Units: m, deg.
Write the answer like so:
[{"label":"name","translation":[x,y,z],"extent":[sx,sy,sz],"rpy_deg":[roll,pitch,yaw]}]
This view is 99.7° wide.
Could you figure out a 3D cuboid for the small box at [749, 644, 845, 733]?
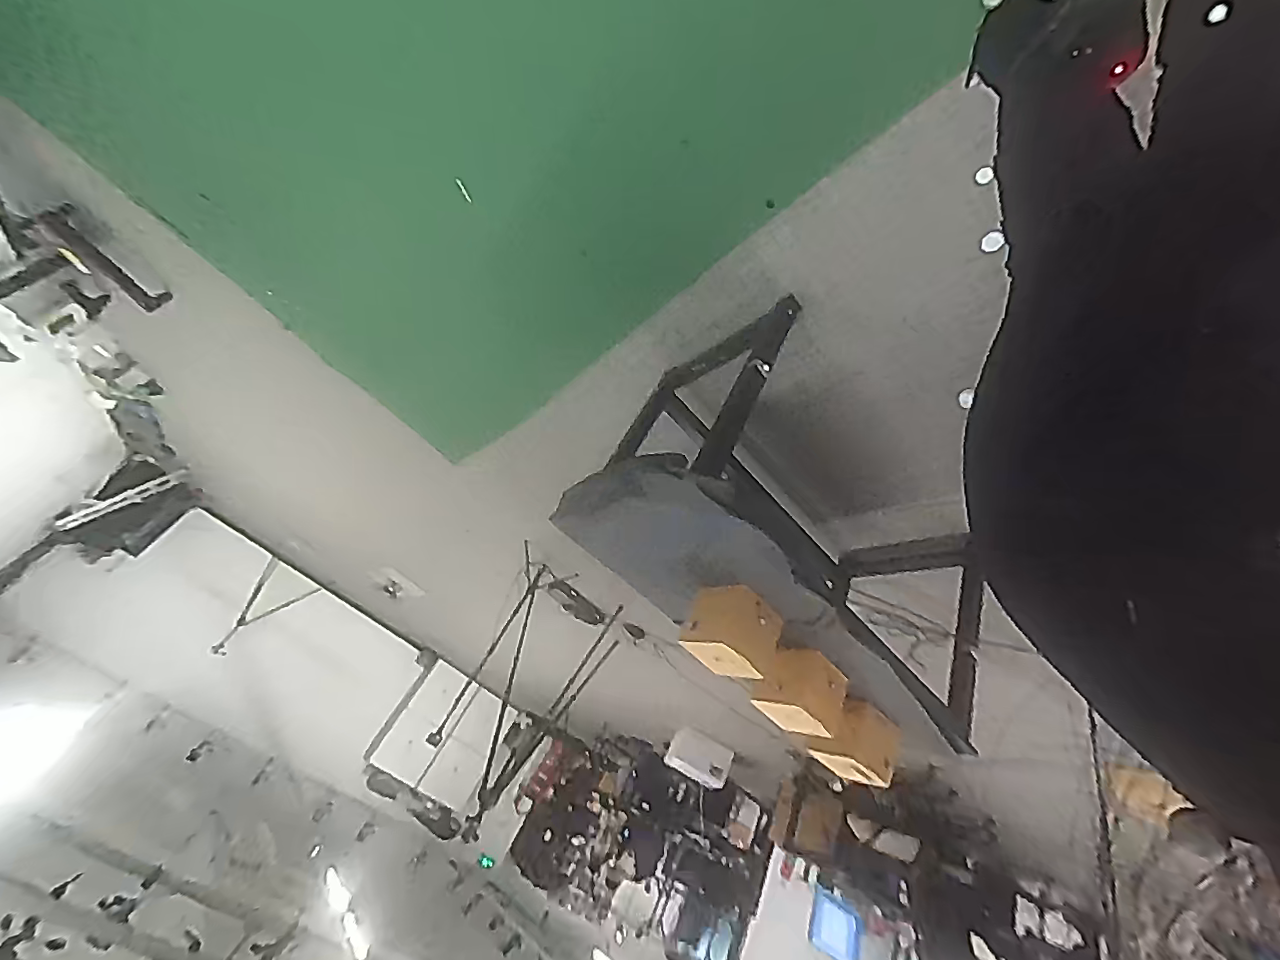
[{"label":"small box","translation":[0.441,0.570,1.501],"extent":[0.168,0.176,0.179],"rpy_deg":[44,144,-20]}]

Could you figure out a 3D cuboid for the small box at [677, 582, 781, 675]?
[{"label":"small box","translation":[0.234,0.381,1.397],"extent":[0.168,0.176,0.179],"rpy_deg":[43,145,-21]}]
